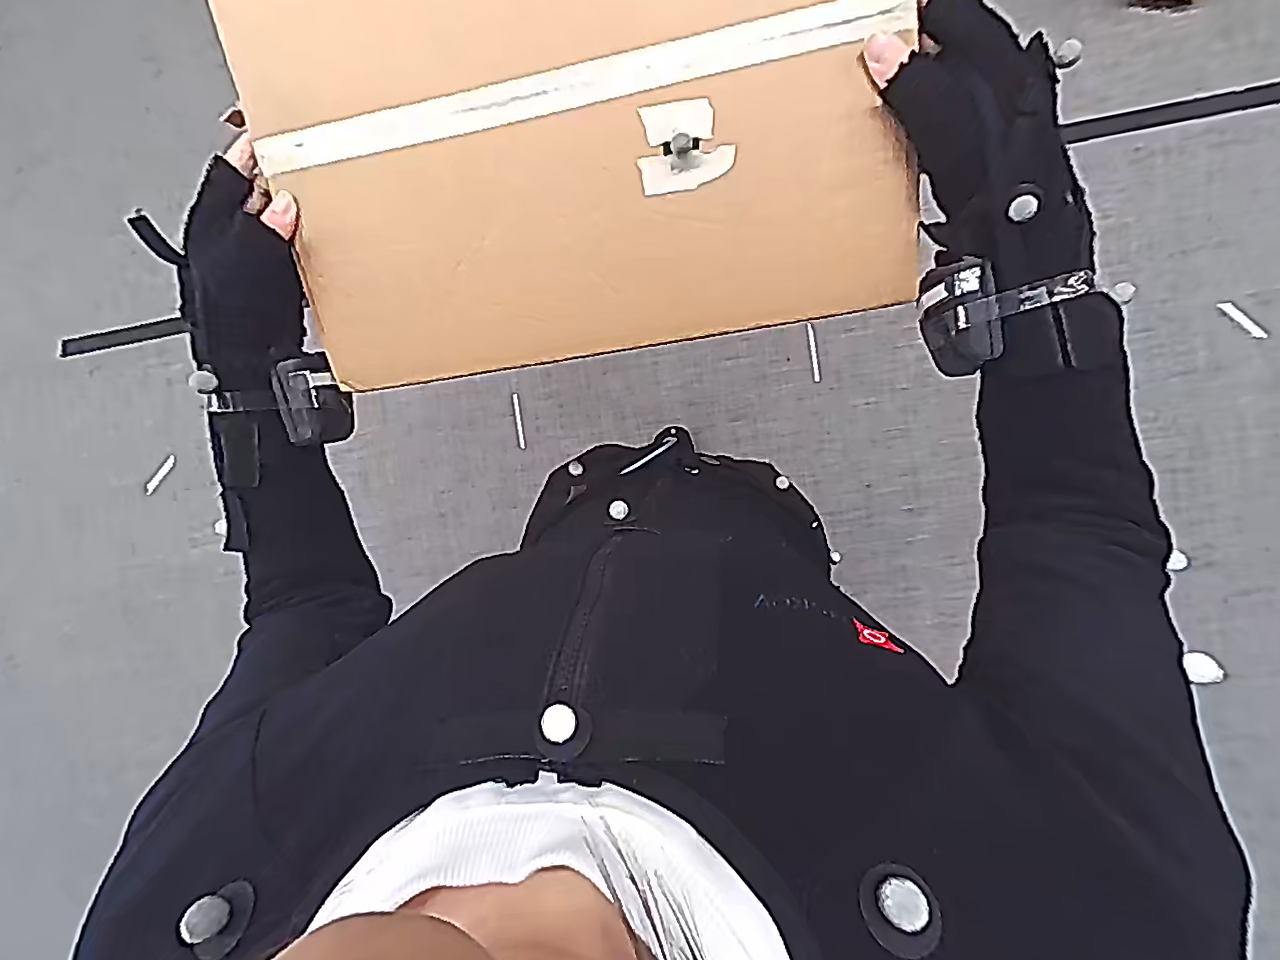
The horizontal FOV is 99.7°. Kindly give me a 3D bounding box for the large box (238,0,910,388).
[{"bbox_3d":[-0.033,-0.286,0.482,0.408,0.320,0.320,-8,108,7],"label":"large box"}]
